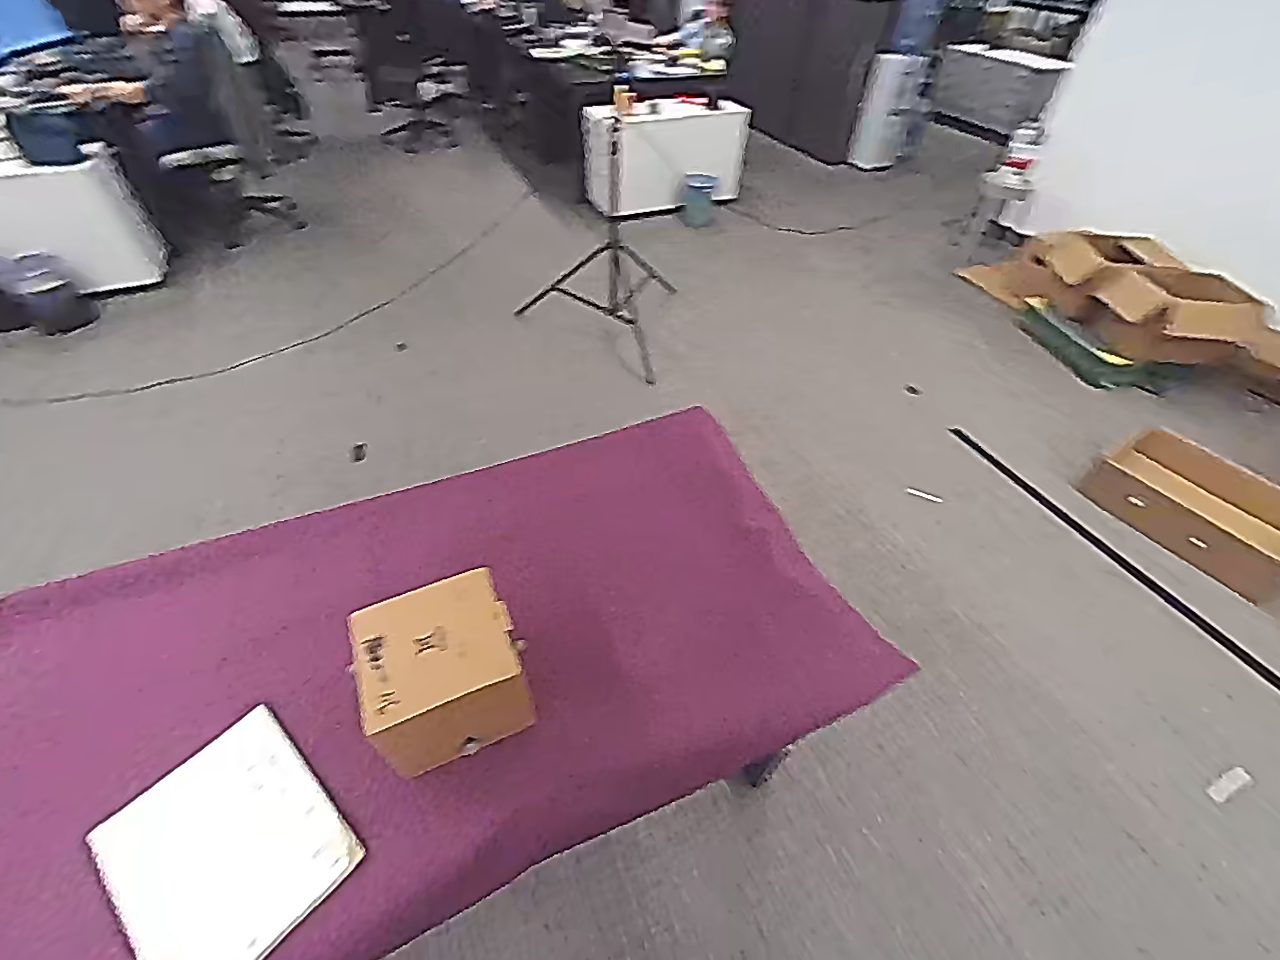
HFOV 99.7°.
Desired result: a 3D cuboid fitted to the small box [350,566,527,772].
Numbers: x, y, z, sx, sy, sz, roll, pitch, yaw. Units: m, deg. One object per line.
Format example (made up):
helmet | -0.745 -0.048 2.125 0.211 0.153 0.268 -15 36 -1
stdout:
small box | -0.256 0.248 0.713 0.179 0.176 0.168 -18 49 -19
